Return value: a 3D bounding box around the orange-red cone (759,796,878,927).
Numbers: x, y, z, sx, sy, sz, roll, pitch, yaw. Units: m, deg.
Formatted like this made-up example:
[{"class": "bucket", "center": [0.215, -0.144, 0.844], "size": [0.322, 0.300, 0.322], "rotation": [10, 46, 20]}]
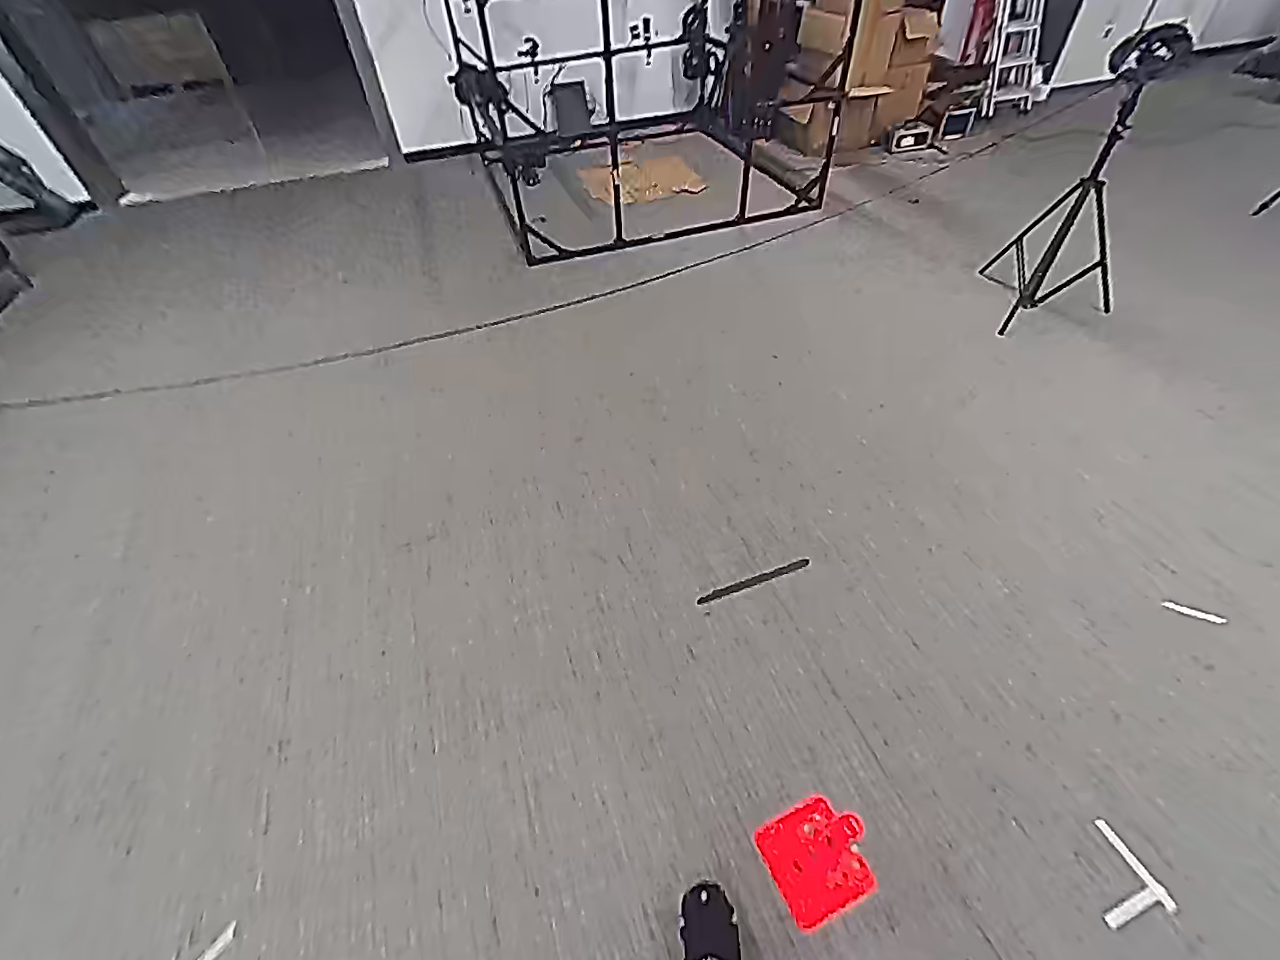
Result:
[{"class": "orange-red cone", "center": [0.375, 0.710, 1.058], "size": [0.199, 0.360, 0.198], "rotation": [-20, 48, -13]}]
